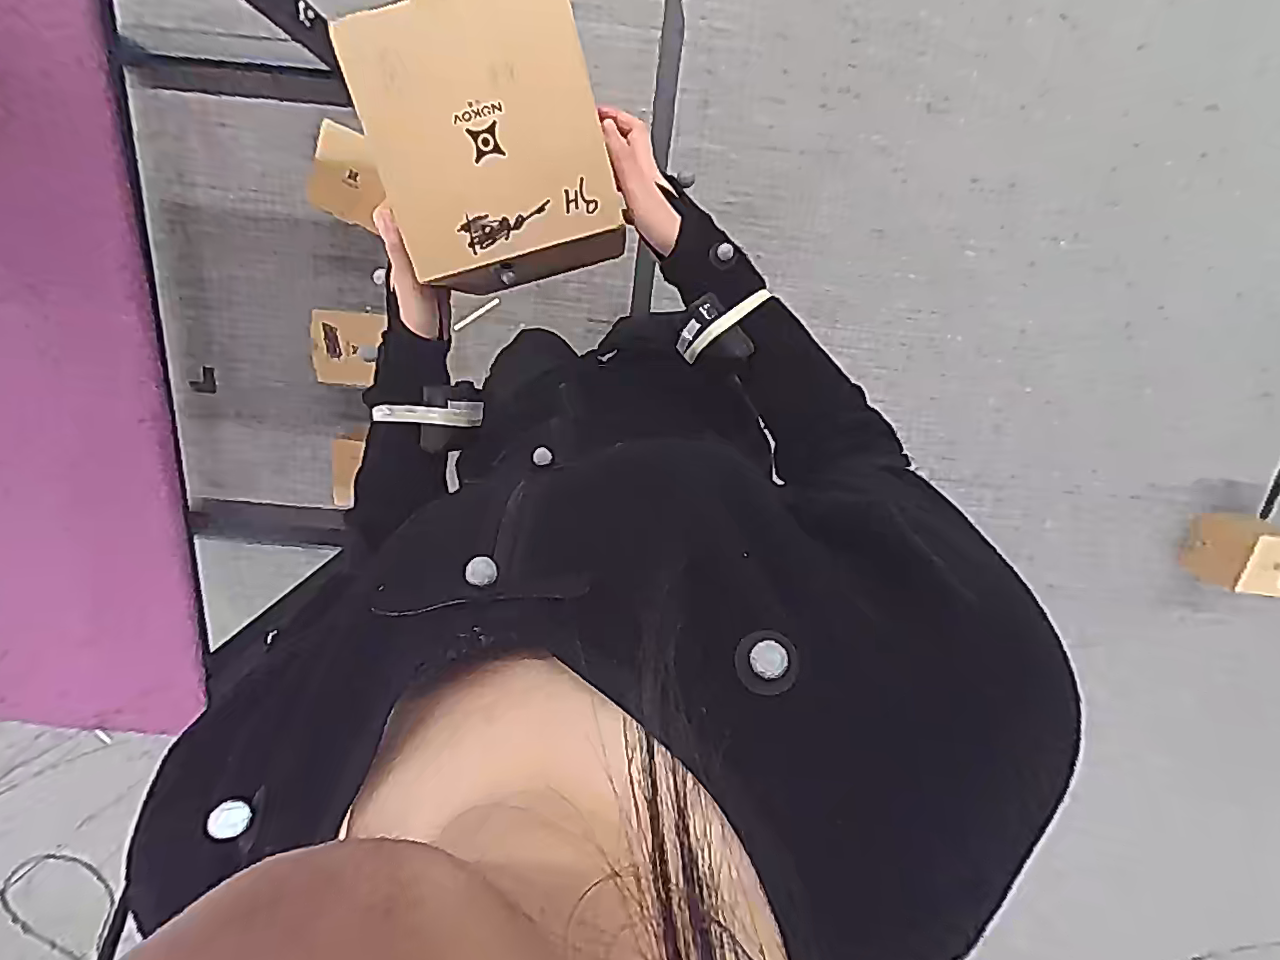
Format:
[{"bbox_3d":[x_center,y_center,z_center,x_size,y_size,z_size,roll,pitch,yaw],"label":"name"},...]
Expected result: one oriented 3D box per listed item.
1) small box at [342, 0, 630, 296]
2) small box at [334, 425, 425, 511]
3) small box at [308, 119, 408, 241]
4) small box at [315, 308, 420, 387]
[{"bbox_3d":[-0.108,-0.270,0.462,0.168,0.176,0.179,-14,105,2],"label":"small box"},{"bbox_3d":[-0.675,-0.035,1.415,0.168,0.176,0.179,7,106,-4],"label":"small box"},{"bbox_3d":[-0.606,-0.664,1.220,0.168,0.176,0.179,22,107,-7],"label":"small box"},{"bbox_3d":[-0.659,-0.326,1.323,0.179,0.176,0.168,5,107,-2],"label":"small box"}]
